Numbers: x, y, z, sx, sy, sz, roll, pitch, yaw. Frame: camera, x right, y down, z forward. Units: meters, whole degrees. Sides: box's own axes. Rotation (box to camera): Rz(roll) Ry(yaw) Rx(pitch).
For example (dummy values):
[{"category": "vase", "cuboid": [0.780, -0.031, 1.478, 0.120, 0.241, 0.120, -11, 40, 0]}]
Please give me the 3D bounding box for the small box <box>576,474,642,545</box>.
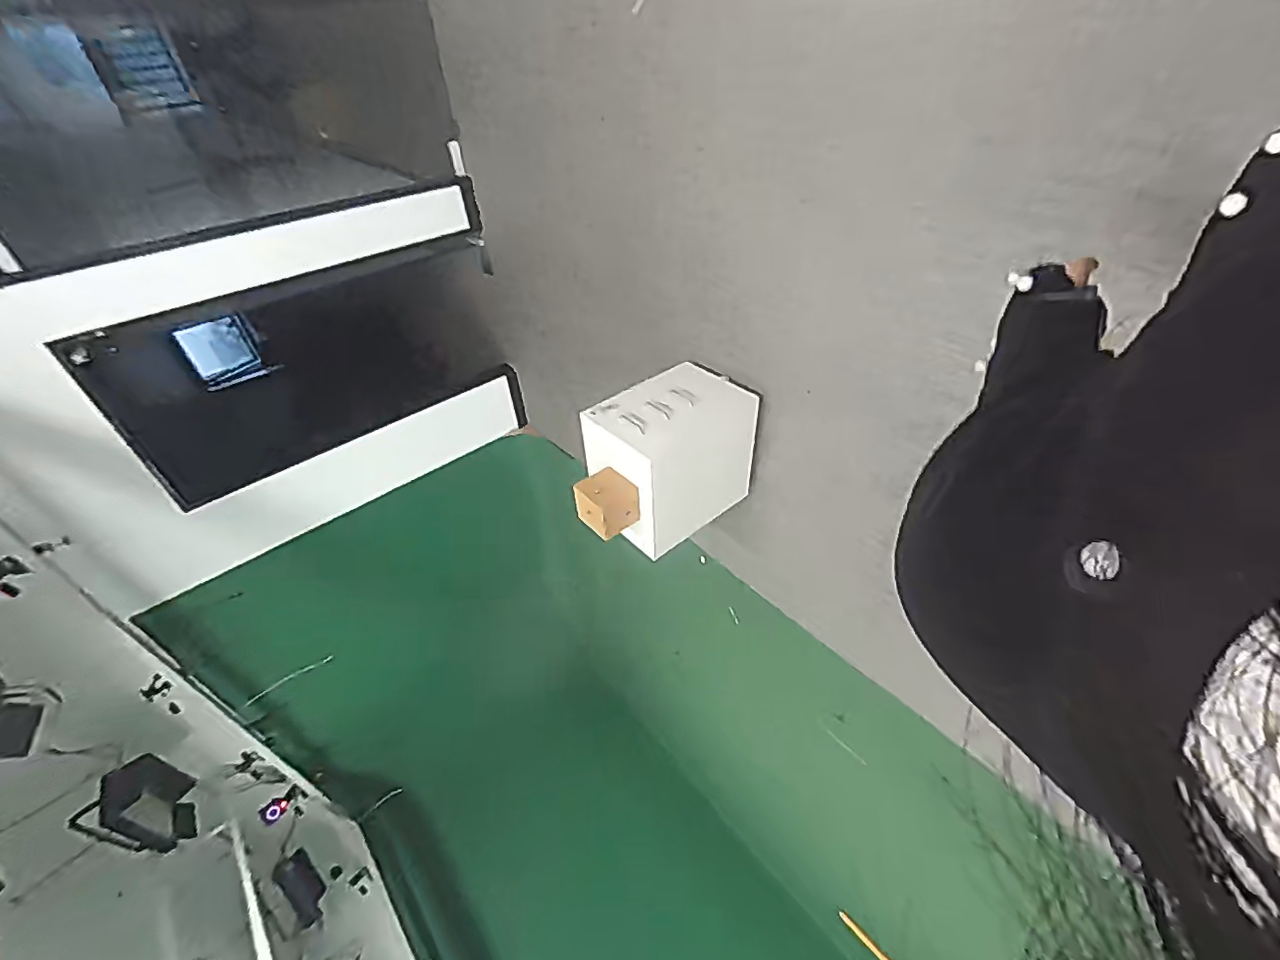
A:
[{"category": "small box", "cuboid": [-0.110, 0.099, 1.980, 0.179, 0.176, 0.168, 36, 144, 37]}]
